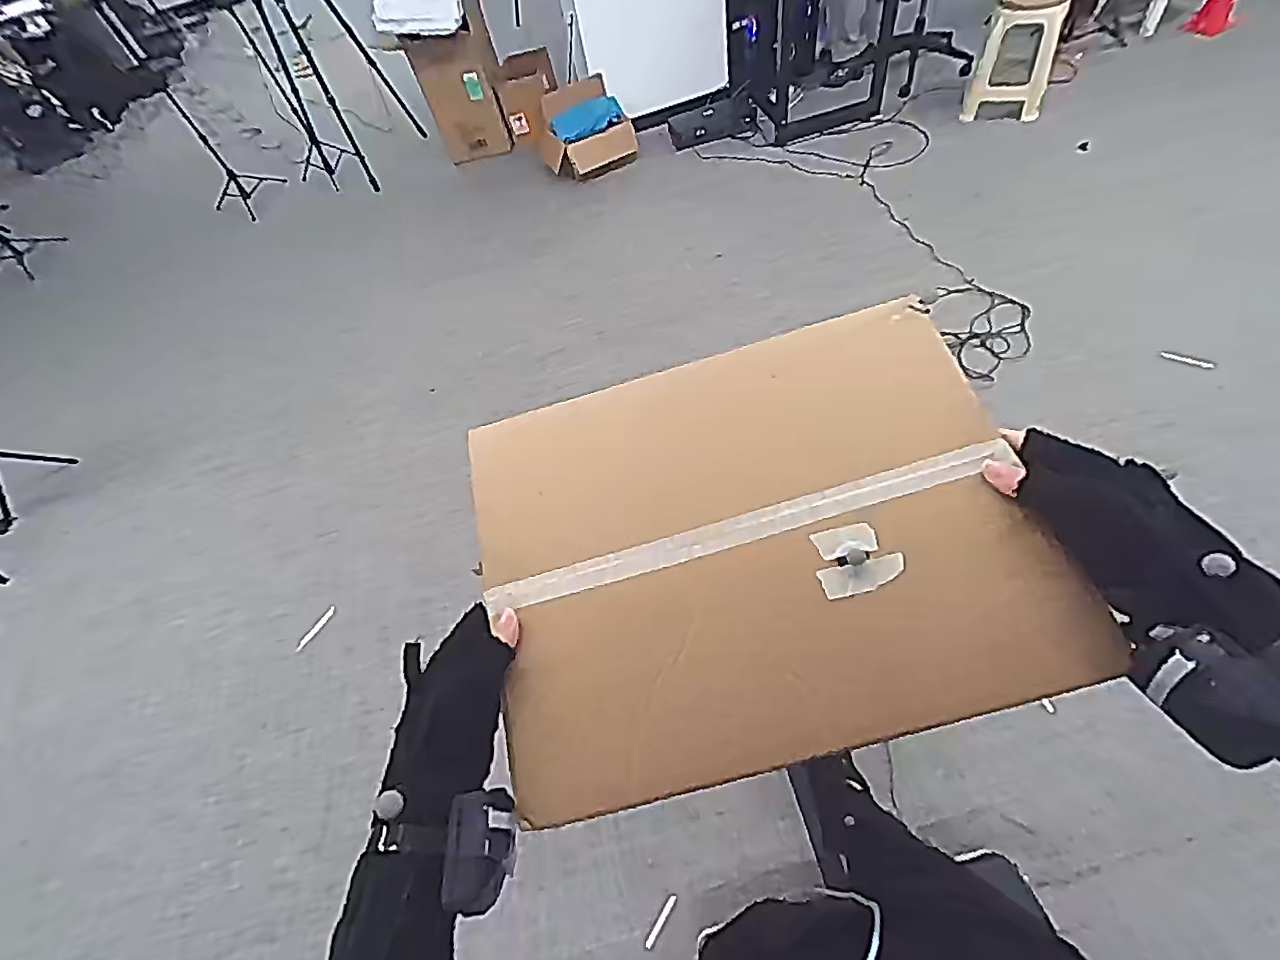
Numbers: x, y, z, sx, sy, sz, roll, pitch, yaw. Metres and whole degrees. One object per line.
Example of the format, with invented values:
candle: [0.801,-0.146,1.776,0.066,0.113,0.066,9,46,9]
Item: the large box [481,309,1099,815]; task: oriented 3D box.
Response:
large box: [0.102,0.097,0.559,0.408,0.320,0.320,-17,66,3]
